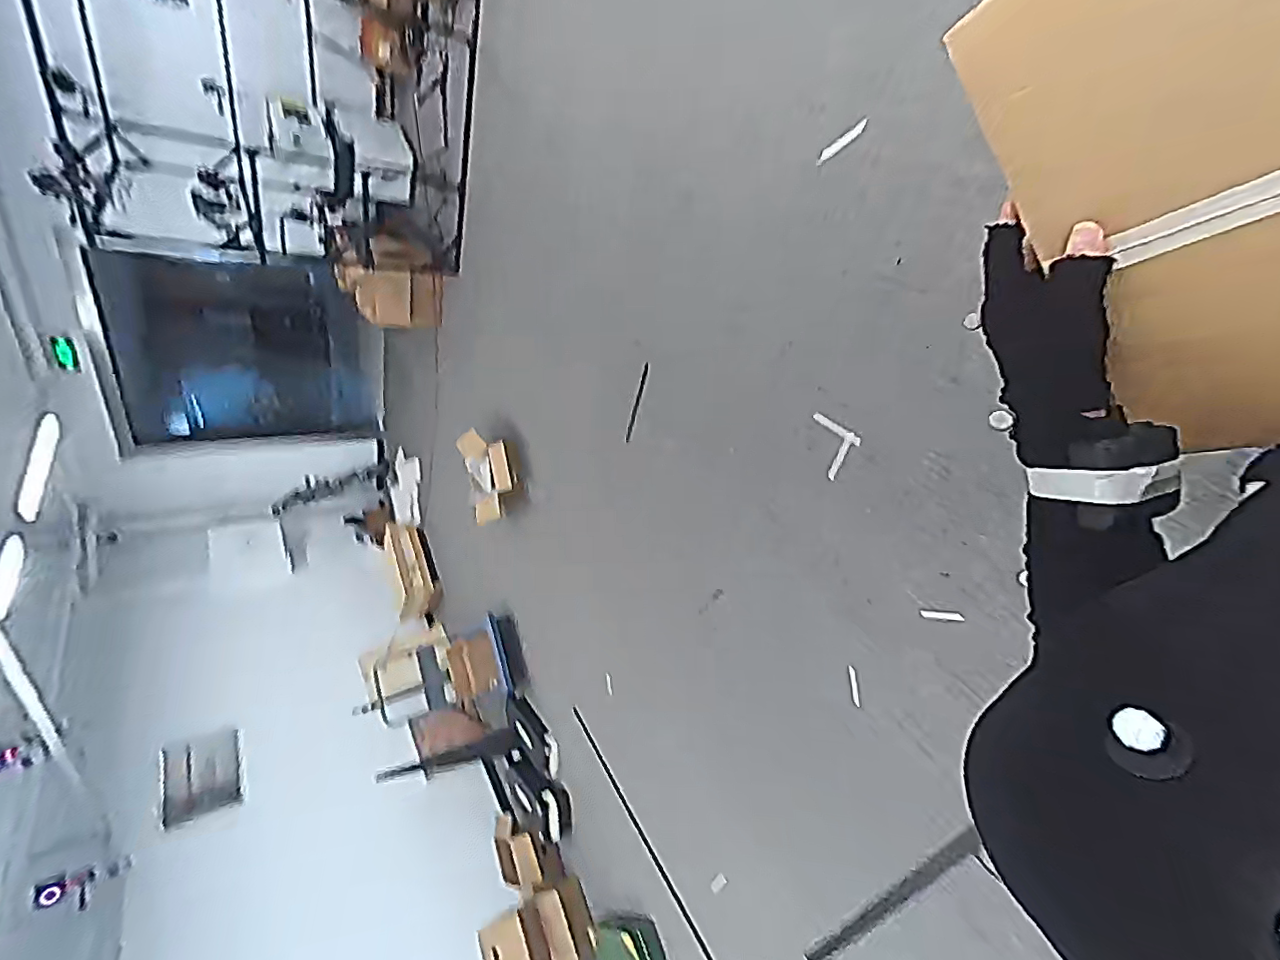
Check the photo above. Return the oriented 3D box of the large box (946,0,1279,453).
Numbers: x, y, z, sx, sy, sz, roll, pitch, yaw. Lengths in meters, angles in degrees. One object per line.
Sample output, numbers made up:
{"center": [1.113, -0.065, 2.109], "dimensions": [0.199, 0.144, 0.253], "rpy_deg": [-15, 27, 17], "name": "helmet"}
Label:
{"center": [0.462, -0.255, 0.267], "dimensions": [0.320, 0.320, 0.408], "rpy_deg": [51, 151, -16], "name": "large box"}
